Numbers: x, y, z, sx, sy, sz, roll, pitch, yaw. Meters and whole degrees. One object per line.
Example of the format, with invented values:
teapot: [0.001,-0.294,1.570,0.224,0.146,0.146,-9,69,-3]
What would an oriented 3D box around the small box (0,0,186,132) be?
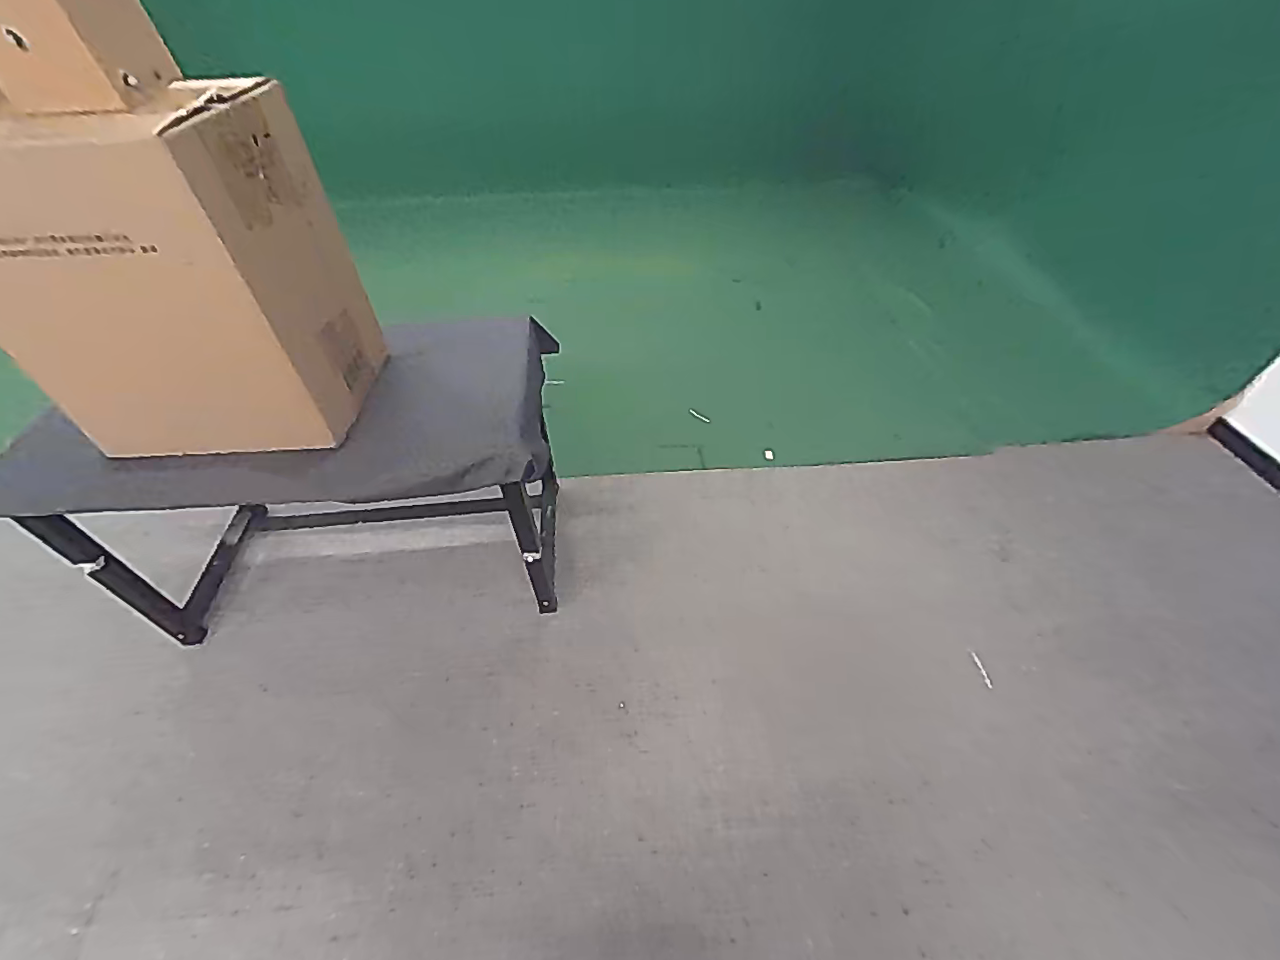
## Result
small box: [-0.881,-0.670,0.848,0.179,0.176,0.168,-2,51,2]
